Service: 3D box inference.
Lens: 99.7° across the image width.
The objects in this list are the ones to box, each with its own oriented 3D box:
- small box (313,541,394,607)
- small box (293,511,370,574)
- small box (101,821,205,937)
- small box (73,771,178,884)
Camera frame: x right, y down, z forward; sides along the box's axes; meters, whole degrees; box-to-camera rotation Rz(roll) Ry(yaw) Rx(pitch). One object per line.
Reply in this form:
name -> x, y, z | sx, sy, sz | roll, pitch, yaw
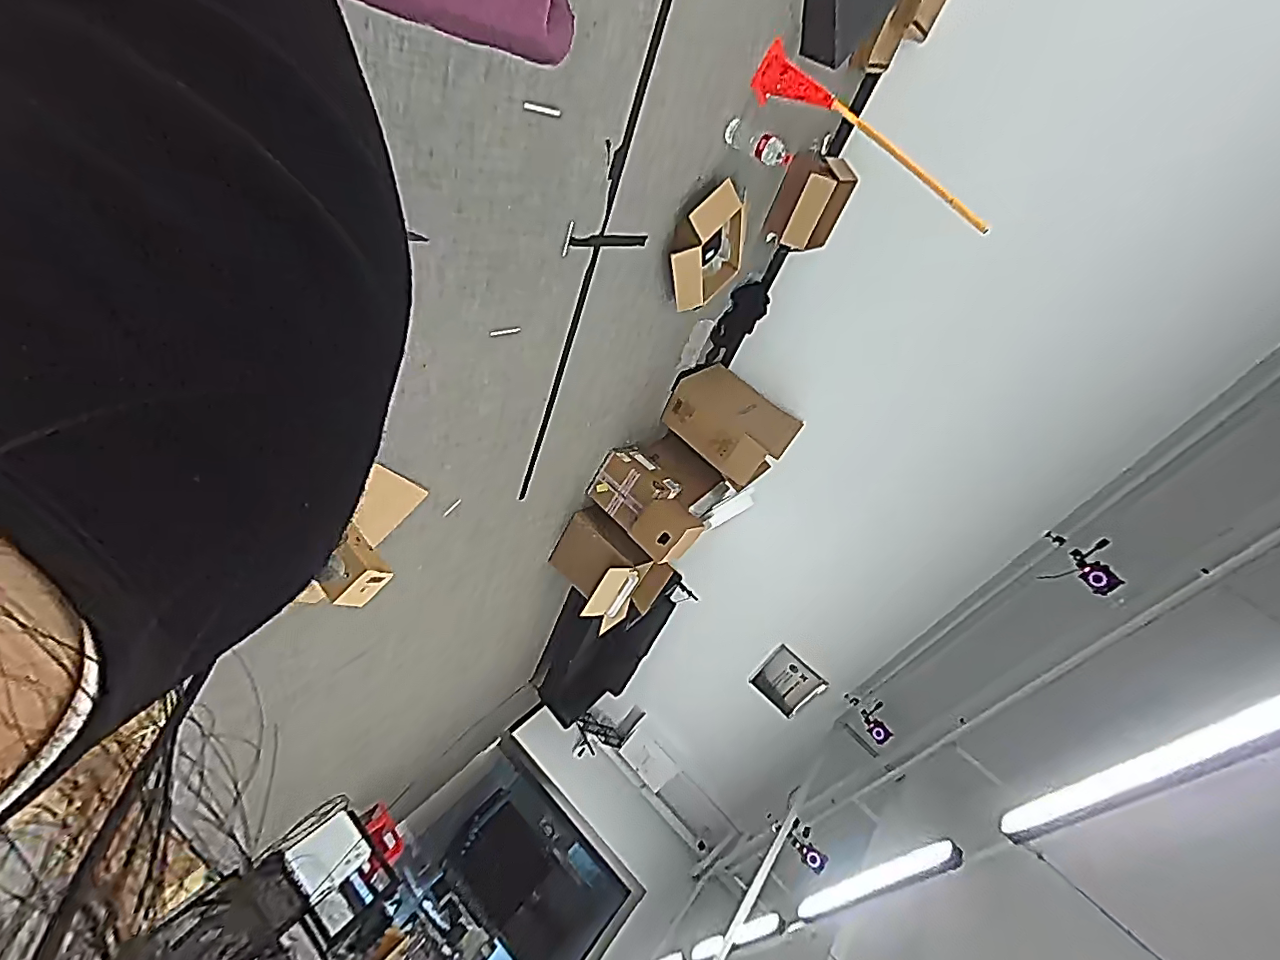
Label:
small box -> -1.089, 0.356, 2.051 | 0.179, 0.176, 0.168 | -46, 161, -5
small box -> -1.206, 0.252, 2.103 | 0.179, 0.176, 0.168 | -46, 161, -4
small box -> -1.321, 1.079, 1.473 | 0.168, 0.176, 0.179 | -26, 151, -52
small box -> -1.435, 0.967, 1.514 | 0.179, 0.176, 0.168 | -28, 154, -50
